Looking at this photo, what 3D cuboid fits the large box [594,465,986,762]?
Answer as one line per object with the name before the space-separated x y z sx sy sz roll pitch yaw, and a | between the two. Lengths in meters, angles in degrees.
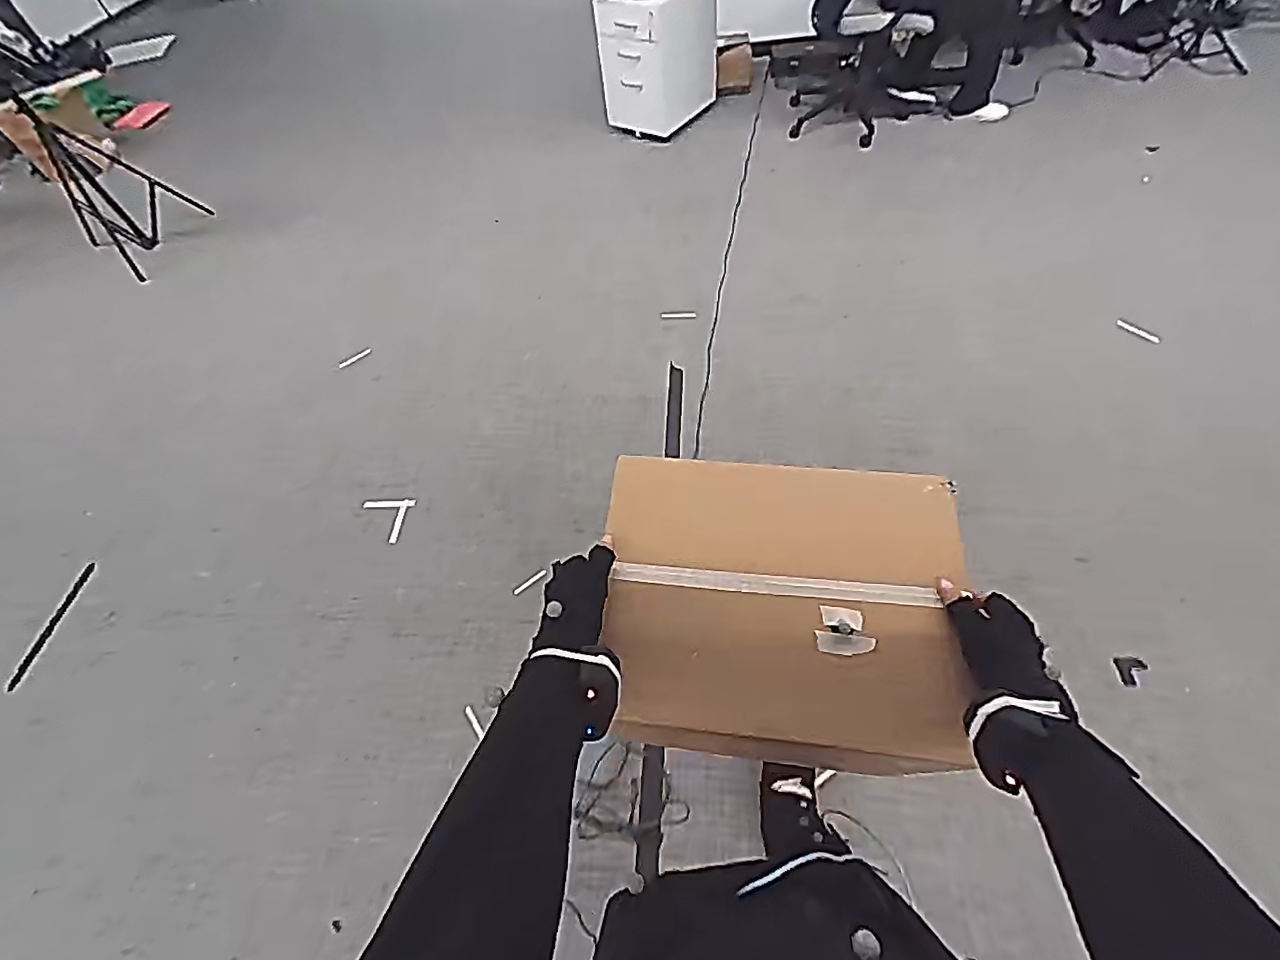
large box | 0.168 0.196 0.752 0.408 0.320 0.320 4 61 6
